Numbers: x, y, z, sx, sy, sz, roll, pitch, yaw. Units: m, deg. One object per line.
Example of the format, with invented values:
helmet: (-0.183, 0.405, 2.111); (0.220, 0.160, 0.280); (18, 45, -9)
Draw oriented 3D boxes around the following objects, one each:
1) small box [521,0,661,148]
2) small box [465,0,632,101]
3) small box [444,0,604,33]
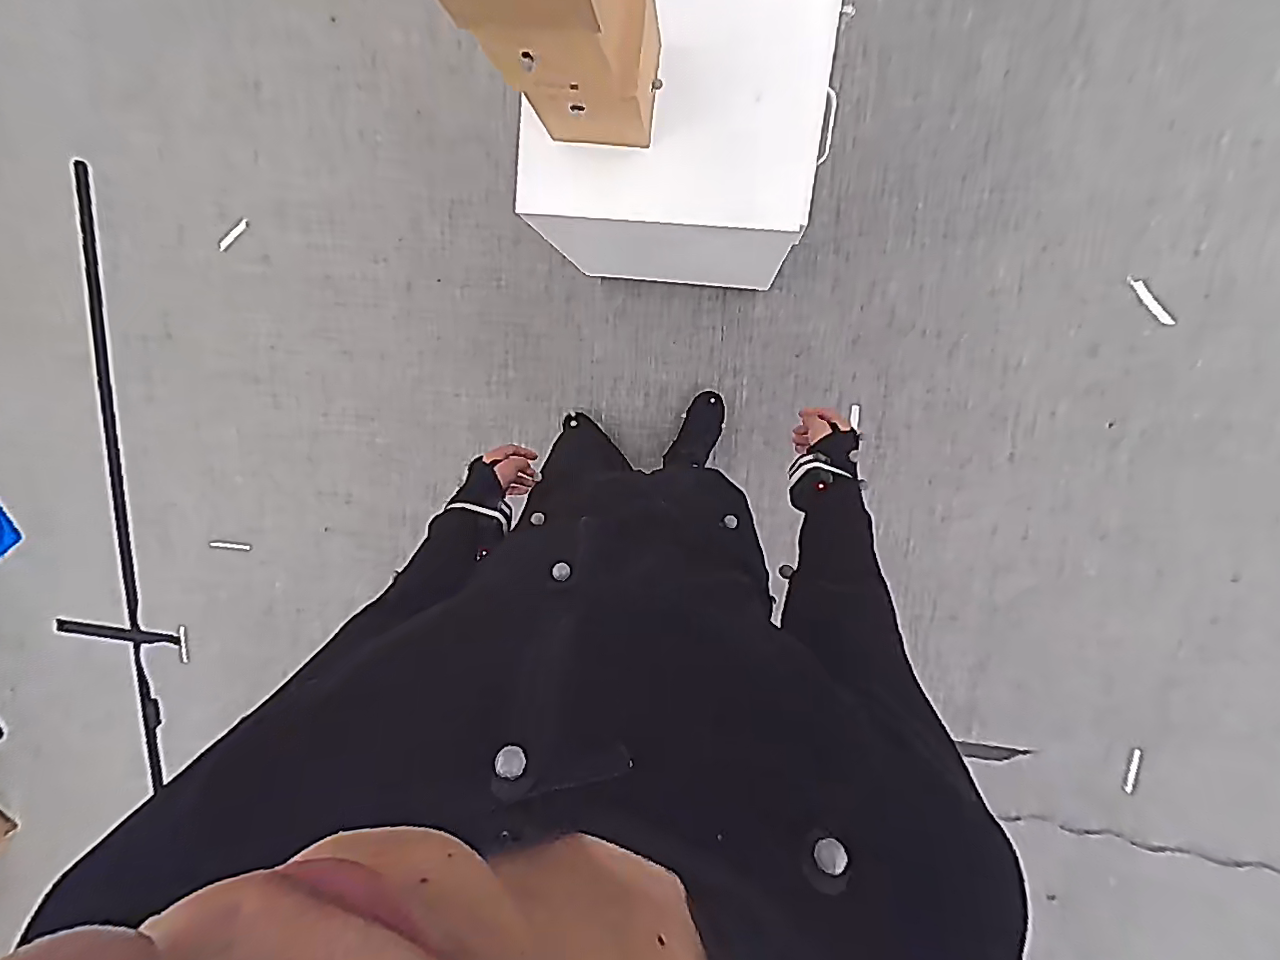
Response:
small box: (-0.069, -0.648, 0.848); (0.179, 0.176, 0.168); (8, 101, 5)
small box: (-0.108, -0.624, 0.691); (0.168, 0.176, 0.179); (10, 100, 6)
small box: (-0.132, -0.583, 0.532); (0.179, 0.176, 0.168); (7, 101, 6)
